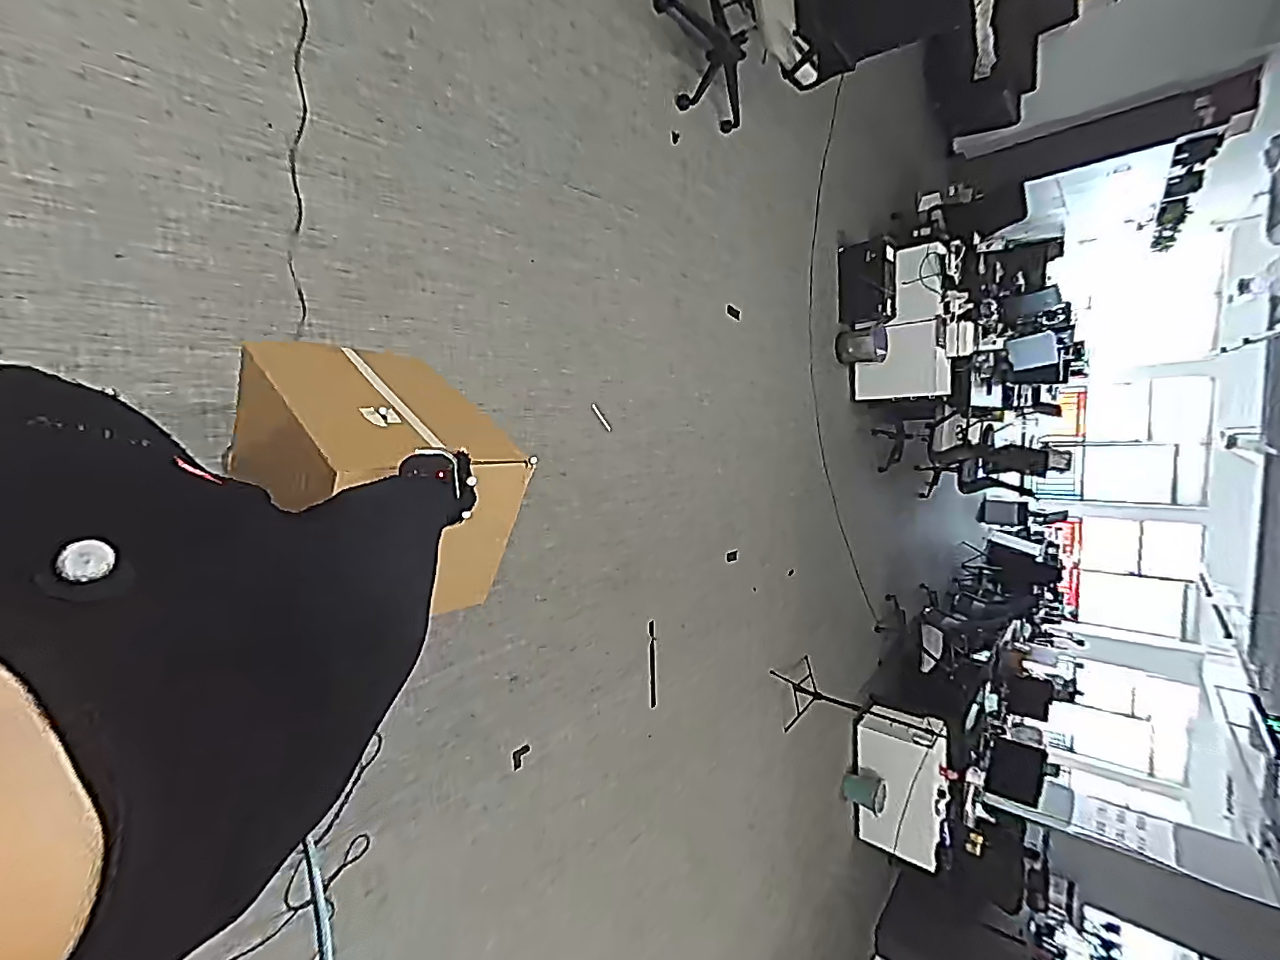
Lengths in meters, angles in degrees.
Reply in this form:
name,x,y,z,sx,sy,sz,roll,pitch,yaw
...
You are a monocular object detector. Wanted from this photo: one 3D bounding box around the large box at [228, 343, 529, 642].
name,x,y,z,sx,sy,sz,roll,pitch,yaw
large box,-0.474,0.003,0.955,0.320,0.408,0.320,-6,129,-50
